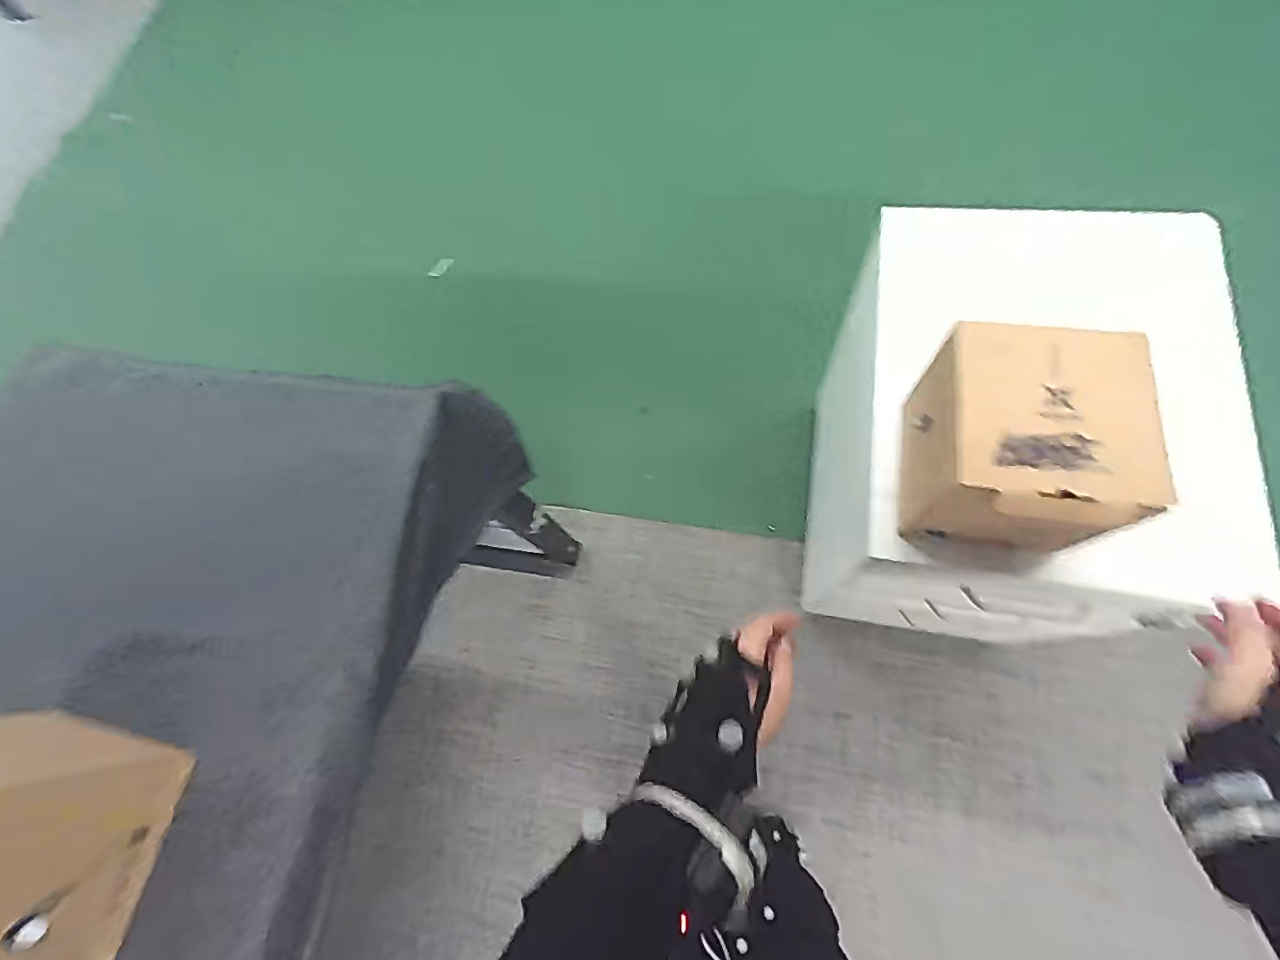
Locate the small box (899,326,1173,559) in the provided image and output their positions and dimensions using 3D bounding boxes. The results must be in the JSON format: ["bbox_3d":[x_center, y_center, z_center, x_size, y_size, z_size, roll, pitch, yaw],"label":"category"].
[{"bbox_3d":[0.377,-0.028,0.551,0.168,0.176,0.179,8,70,10],"label":"small box"}]
